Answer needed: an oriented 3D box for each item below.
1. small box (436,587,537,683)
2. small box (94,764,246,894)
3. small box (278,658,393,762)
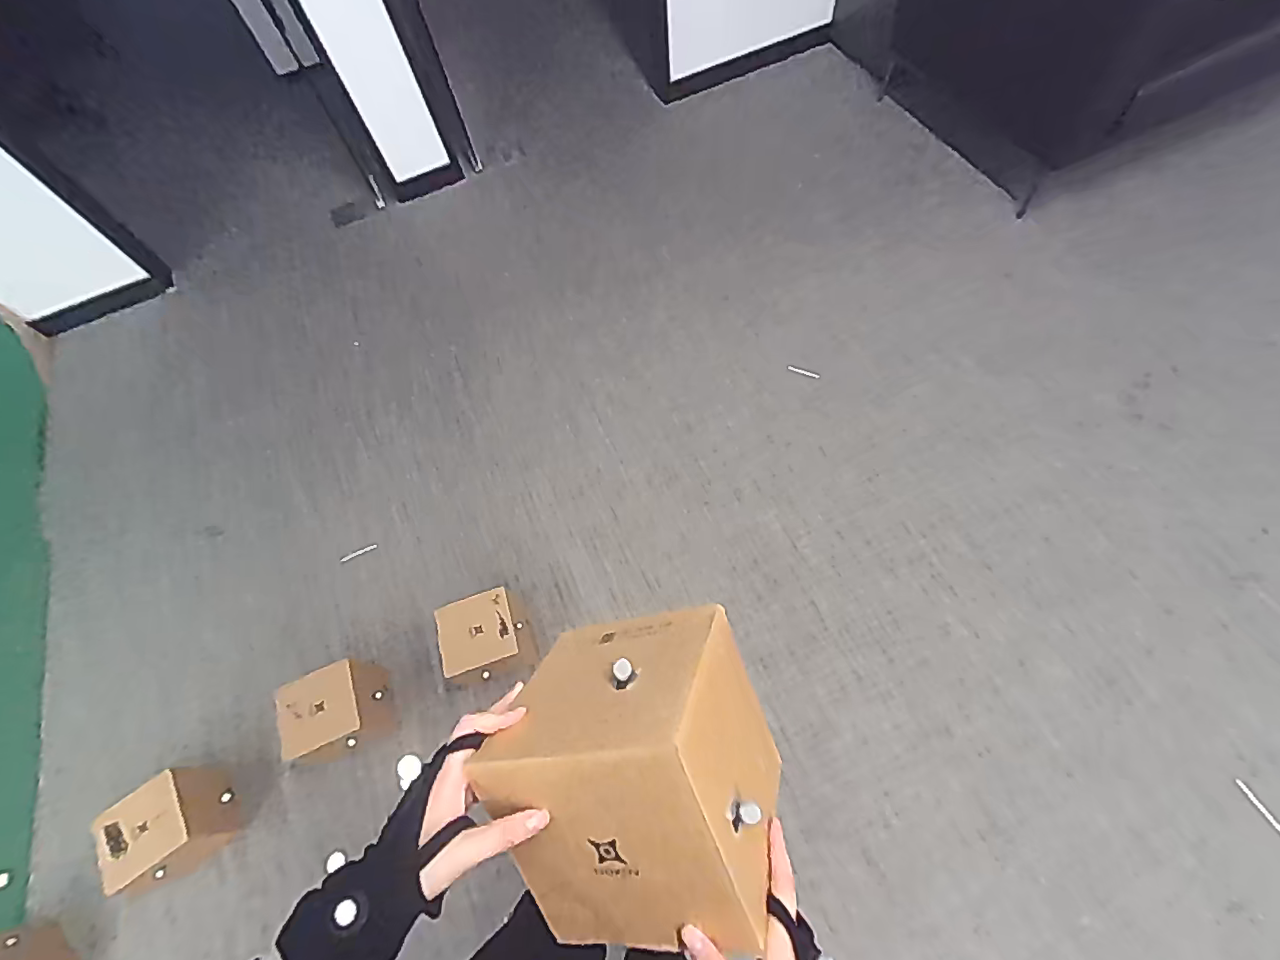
[{"bbox_3d":[-0.370,0.383,1.316,0.179,0.176,0.168,-19,64,-3],"label":"small box"},{"bbox_3d":[-1.030,0.760,1.196,0.179,0.176,0.168,-34,65,-12],"label":"small box"},{"bbox_3d":[-0.706,0.541,1.272,0.179,0.176,0.168,-23,63,-6],"label":"small box"}]
